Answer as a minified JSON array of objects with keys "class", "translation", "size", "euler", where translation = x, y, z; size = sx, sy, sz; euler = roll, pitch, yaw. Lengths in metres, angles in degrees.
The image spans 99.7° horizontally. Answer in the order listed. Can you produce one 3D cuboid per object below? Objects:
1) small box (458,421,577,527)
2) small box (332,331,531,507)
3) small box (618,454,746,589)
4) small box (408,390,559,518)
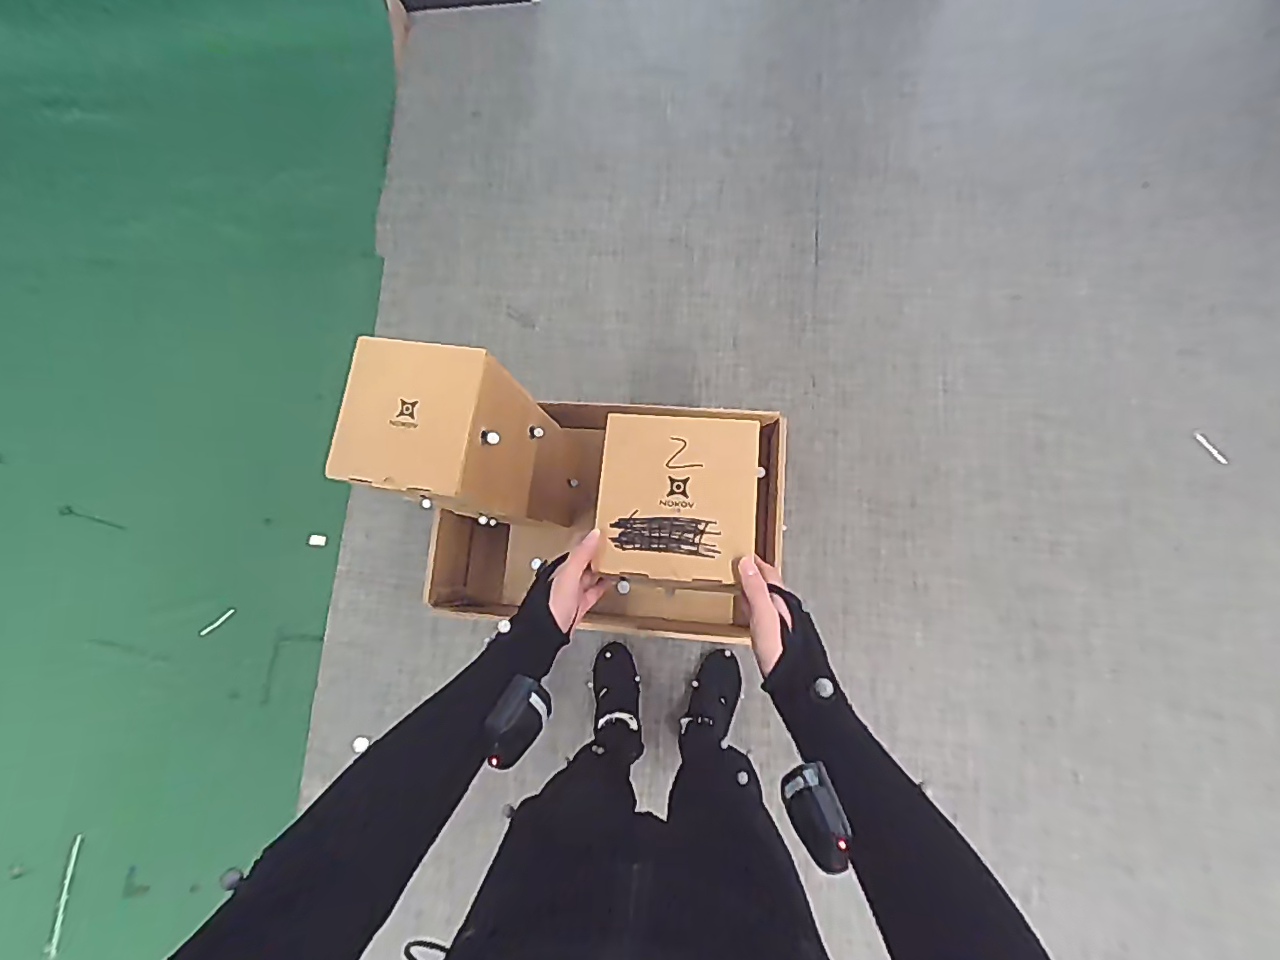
[{"class":"small box","translation":[-0.221,-0.013,1.022],"size":[0.168,0.176,0.179],"euler":[6,81,7]},{"class":"small box","translation":[-0.253,-0.070,0.703],"size":[0.168,0.176,0.179],"euler":[9,82,8]},{"class":"small box","translation":[0.065,0.068,0.807],"size":[0.168,0.176,0.179],"euler":[2,80,7]},{"class":"small box","translation":[-0.237,-0.042,0.861],"size":[0.168,0.176,0.179],"euler":[7,81,9]}]
